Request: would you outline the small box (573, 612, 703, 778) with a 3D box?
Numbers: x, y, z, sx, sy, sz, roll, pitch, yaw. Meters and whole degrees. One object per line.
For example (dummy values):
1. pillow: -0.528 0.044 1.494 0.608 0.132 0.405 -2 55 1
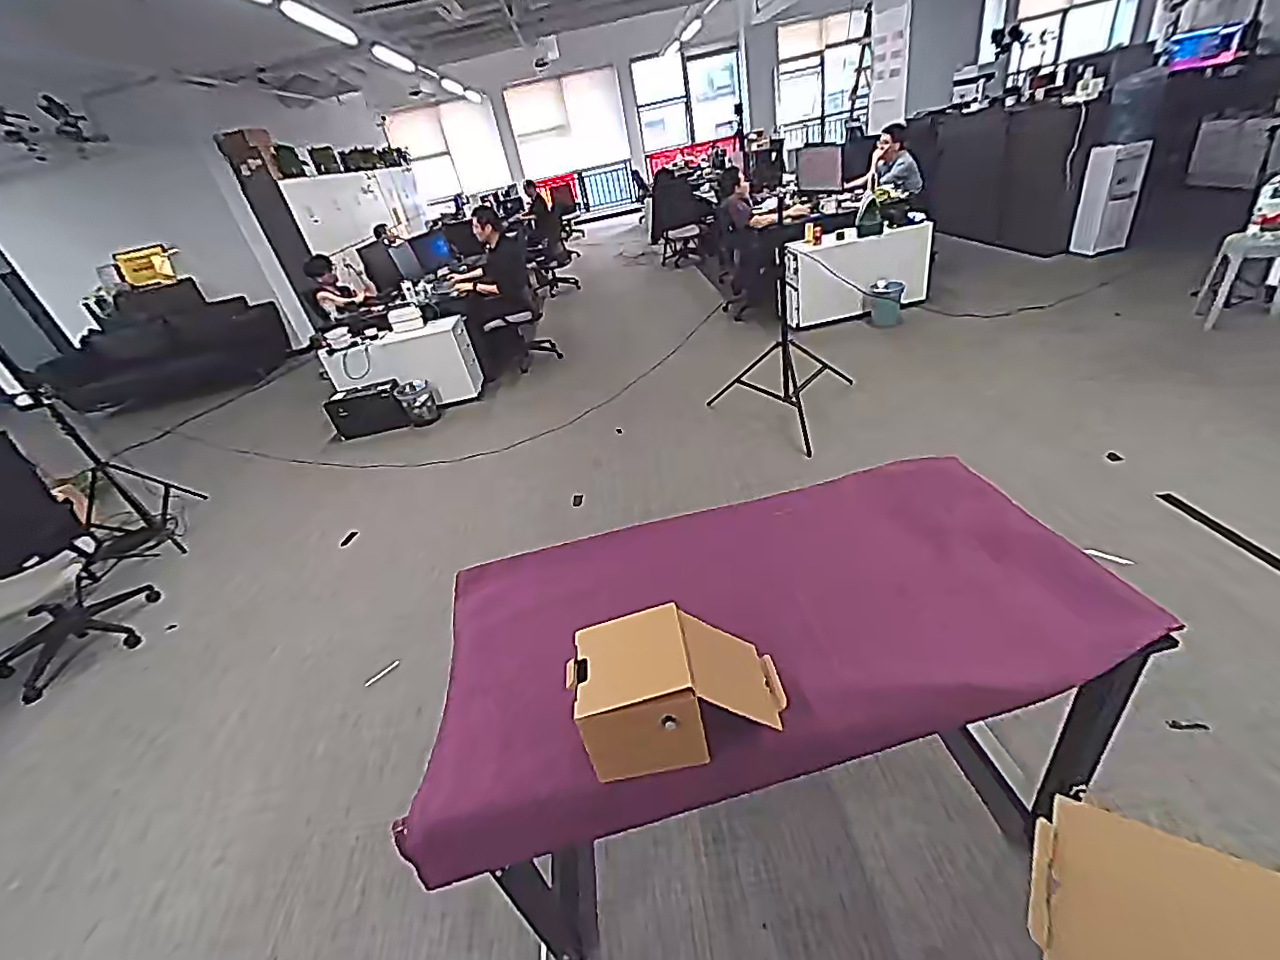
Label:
1. small box: 0.000 0.341 0.862 0.179 0.176 0.168 -12 31 2
